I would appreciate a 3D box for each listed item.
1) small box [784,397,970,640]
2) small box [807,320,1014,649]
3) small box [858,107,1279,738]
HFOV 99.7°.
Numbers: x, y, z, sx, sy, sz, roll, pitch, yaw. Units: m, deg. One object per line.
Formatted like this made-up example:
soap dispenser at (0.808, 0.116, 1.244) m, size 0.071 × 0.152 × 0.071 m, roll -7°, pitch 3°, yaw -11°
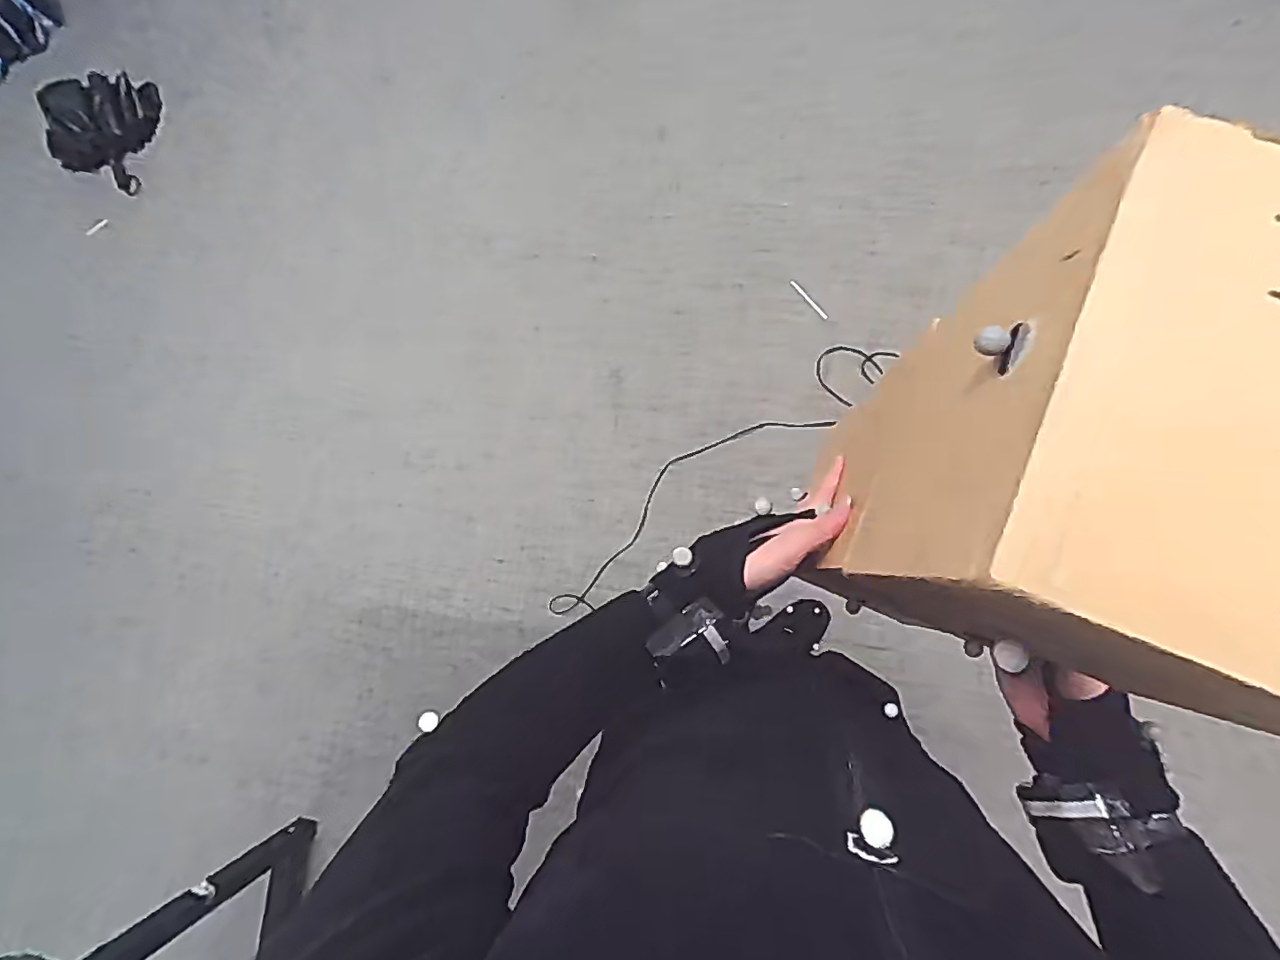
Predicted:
small box at (0.259, 0.042, 0.560) m, size 0.168 × 0.176 × 0.179 m, roll 22°, pitch 84°, yaw 11°
small box at (0.236, 0.018, 0.400) m, size 0.168 × 0.176 × 0.179 m, roll 20°, pitch 82°, yaw 9°
small box at (0.219, -0.005, 0.239) m, size 0.168 × 0.176 × 0.179 m, roll 22°, pitch 84°, yaw 10°
